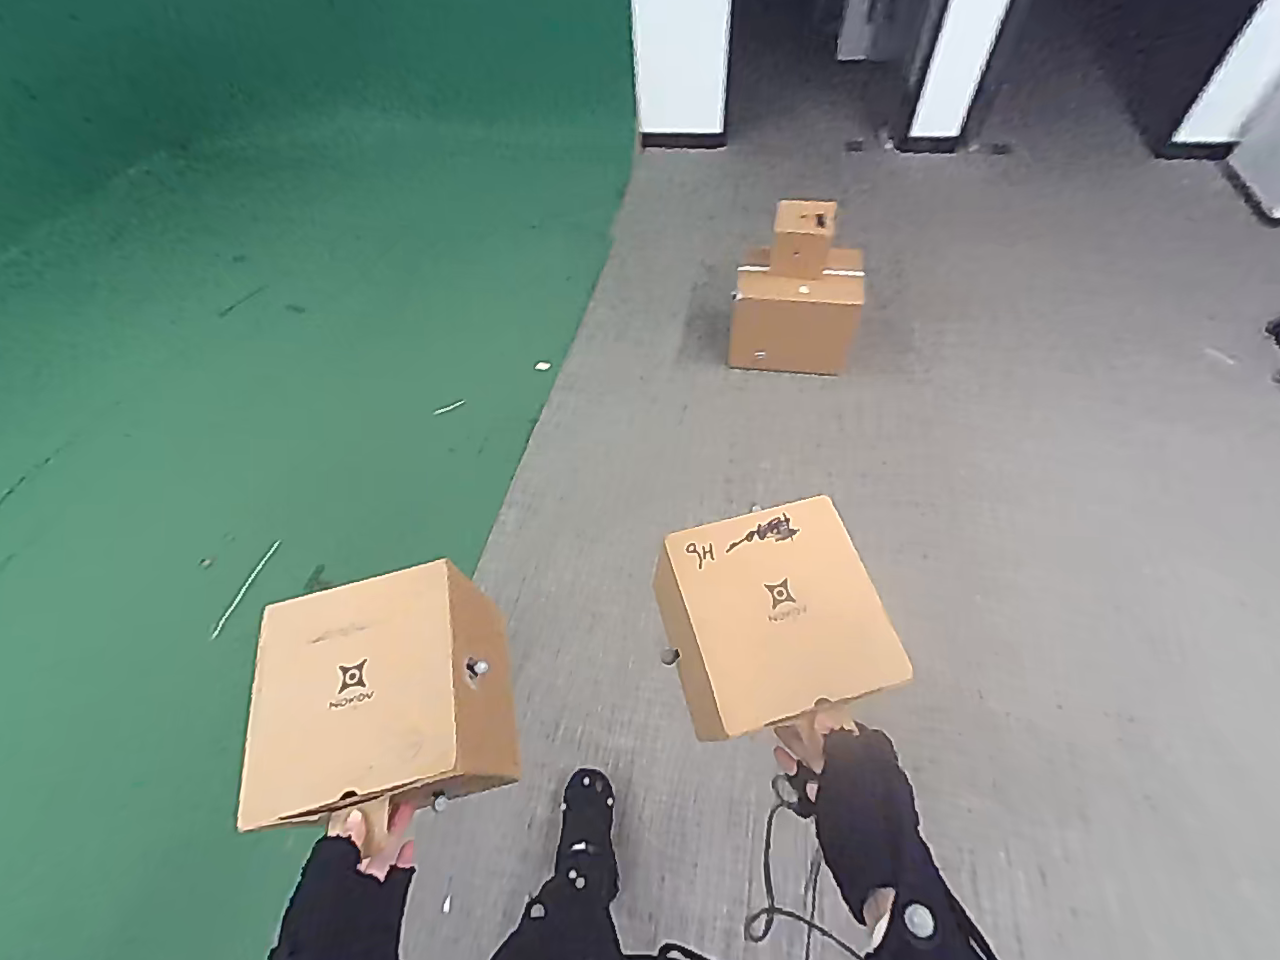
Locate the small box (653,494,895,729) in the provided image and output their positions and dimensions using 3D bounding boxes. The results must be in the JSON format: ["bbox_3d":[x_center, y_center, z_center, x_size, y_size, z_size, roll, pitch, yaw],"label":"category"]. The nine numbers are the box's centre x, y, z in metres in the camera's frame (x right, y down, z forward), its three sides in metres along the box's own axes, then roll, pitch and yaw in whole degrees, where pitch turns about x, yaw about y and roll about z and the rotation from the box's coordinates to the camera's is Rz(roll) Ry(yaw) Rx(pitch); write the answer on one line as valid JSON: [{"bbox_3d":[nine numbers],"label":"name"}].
[{"bbox_3d":[0.114,0.138,0.548,0.168,0.176,0.179,-12,66,-8],"label":"small box"}]

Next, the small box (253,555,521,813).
[{"bbox_3d":[-0.223,0.199,0.520,0.168,0.176,0.179,-15,59,-1],"label":"small box"}]

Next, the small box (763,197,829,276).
[{"bbox_3d":[0.503,-0.784,1.748,0.179,0.176,0.168,6,61,8],"label":"small box"}]
